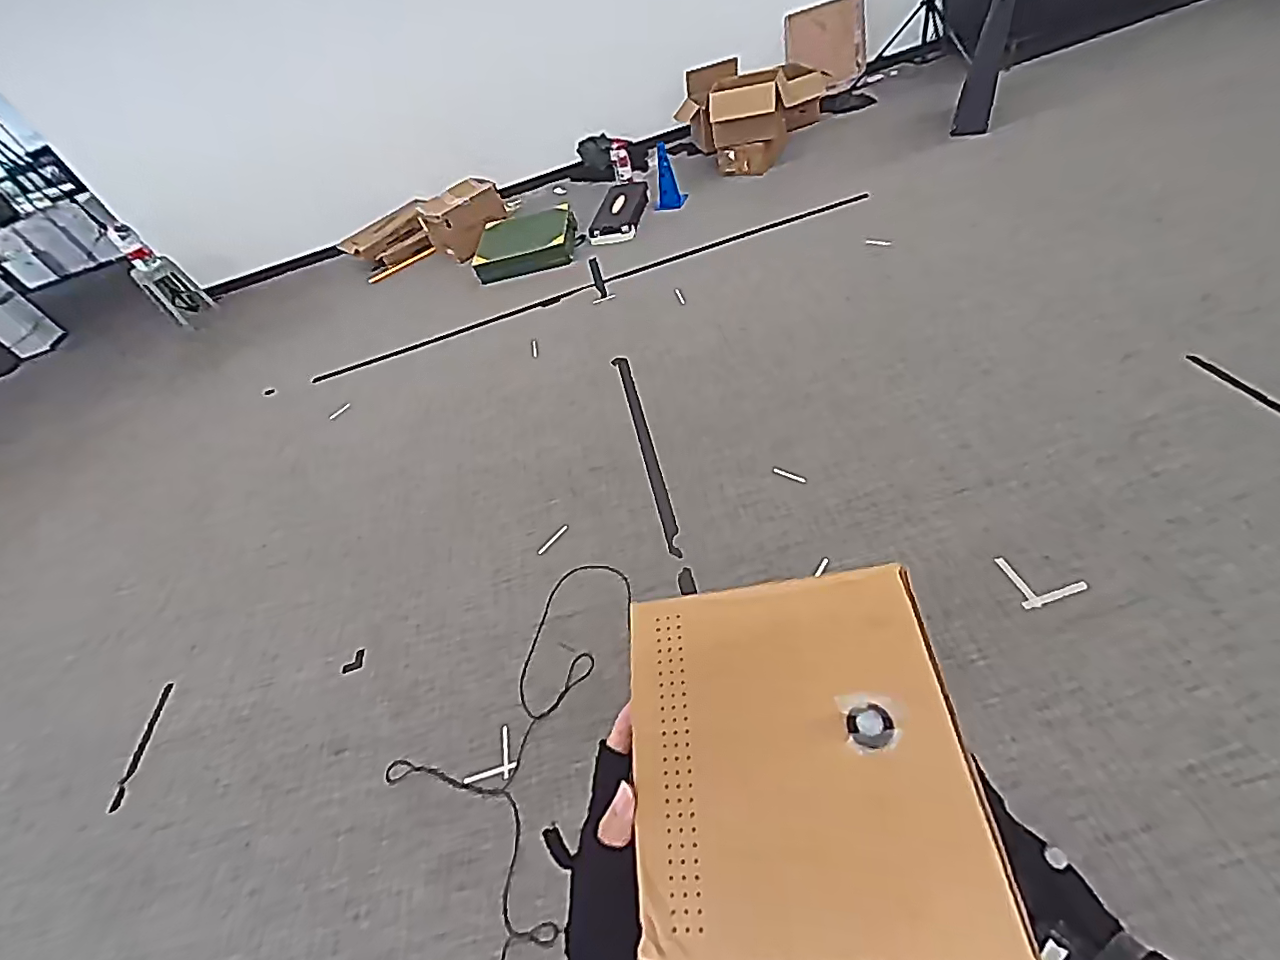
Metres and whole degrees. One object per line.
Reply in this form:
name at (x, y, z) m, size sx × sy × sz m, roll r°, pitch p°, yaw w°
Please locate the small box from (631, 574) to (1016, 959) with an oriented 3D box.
small box at (0.096, 0.184, 0.348) m, size 0.176 × 0.168 × 0.179 m, roll -13°, pitch 54°, yaw 14°
